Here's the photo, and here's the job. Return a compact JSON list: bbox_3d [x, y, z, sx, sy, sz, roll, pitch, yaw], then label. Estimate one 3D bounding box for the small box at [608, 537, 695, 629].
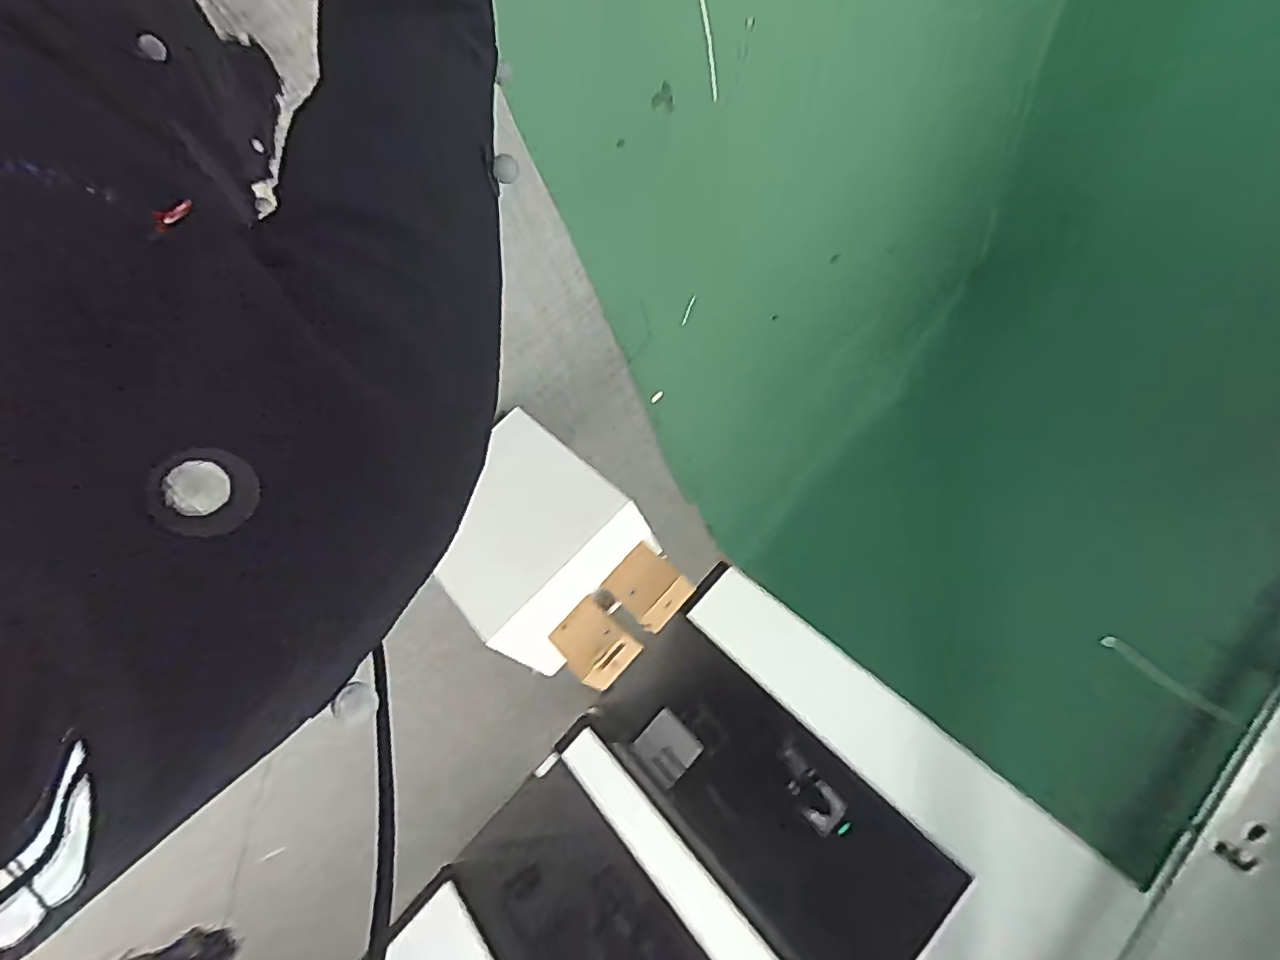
[{"bbox_3d":[0.029,0.302,1.586,0.179,0.176,0.168,-48,149,-7],"label":"small box"}]
